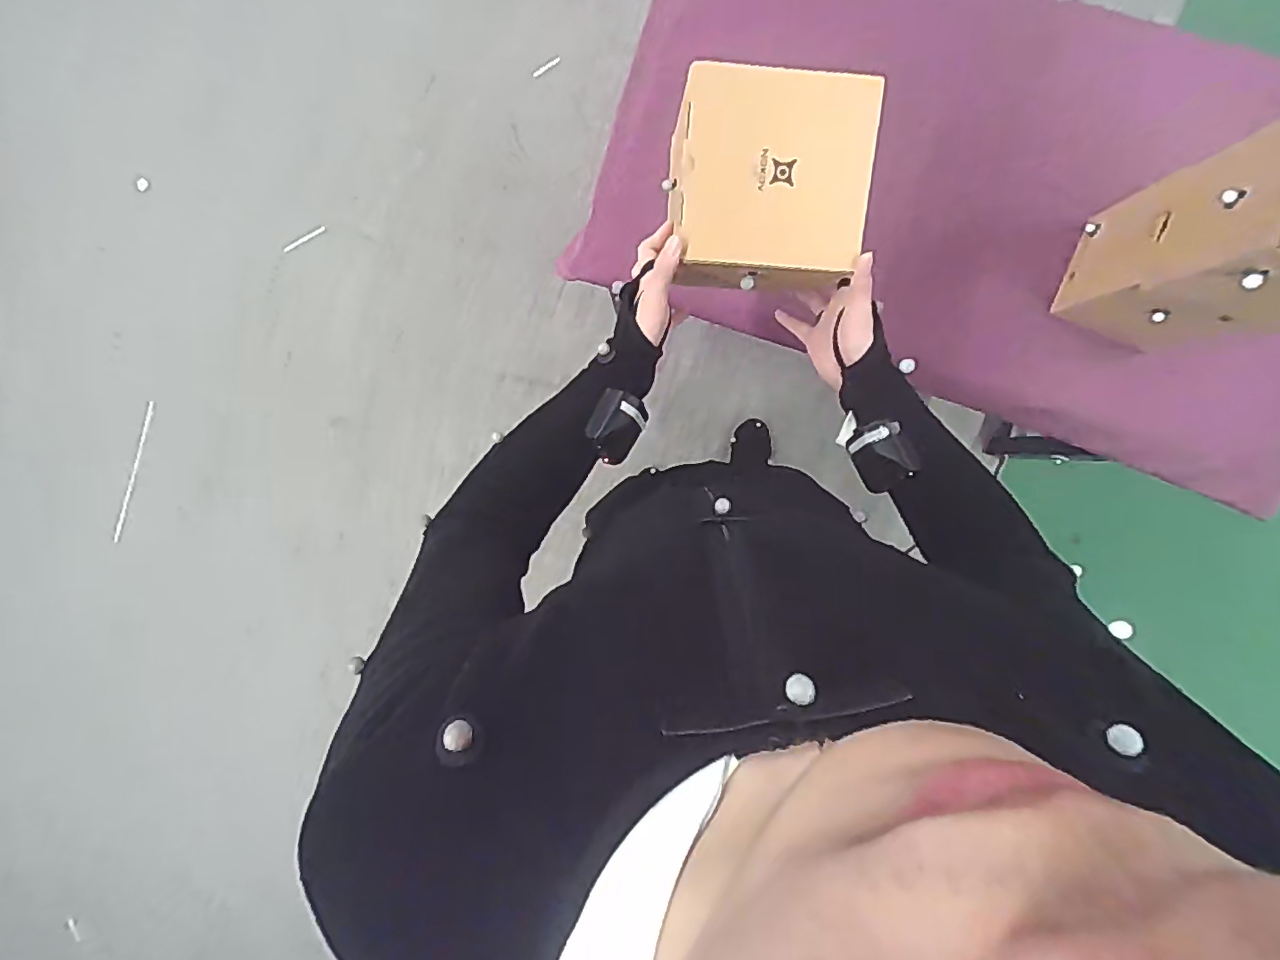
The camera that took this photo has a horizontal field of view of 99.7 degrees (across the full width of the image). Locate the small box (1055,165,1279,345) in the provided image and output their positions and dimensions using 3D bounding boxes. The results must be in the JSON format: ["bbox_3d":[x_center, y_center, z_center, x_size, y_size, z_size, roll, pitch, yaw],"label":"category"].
[{"bbox_3d":[0.768,-0.312,0.791,0.179,0.176,0.168,21,94,0],"label":"small box"}]

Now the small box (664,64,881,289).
[{"bbox_3d":[0.122,-0.299,0.572,0.179,0.176,0.168,2,103,-1],"label":"small box"}]
